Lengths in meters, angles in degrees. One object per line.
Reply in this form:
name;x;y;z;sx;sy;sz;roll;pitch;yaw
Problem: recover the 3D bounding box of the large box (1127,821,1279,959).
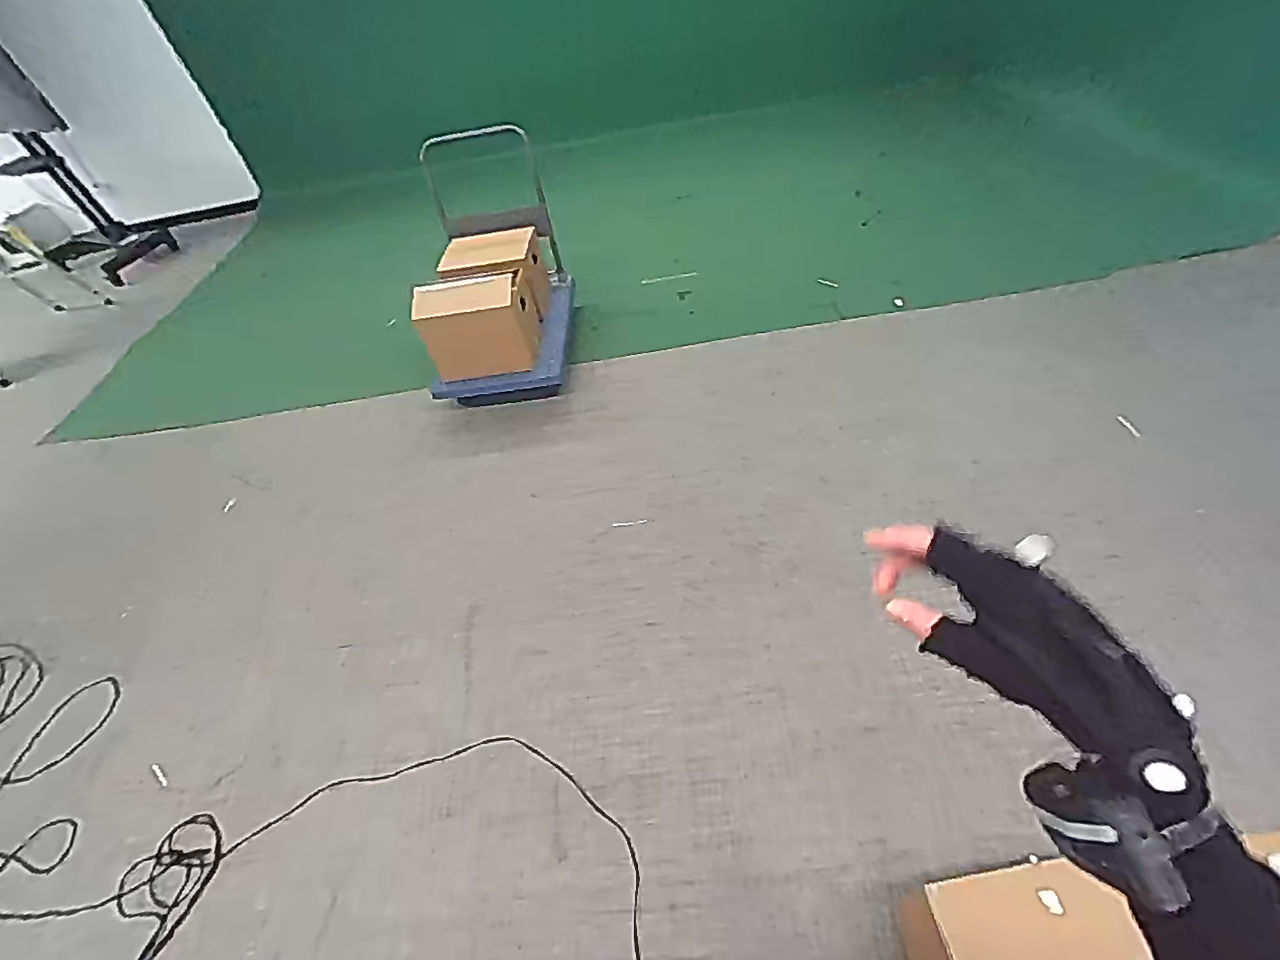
large box;1.186;0.772;0.901;0.408;0.320;0.320;-7;49;4
